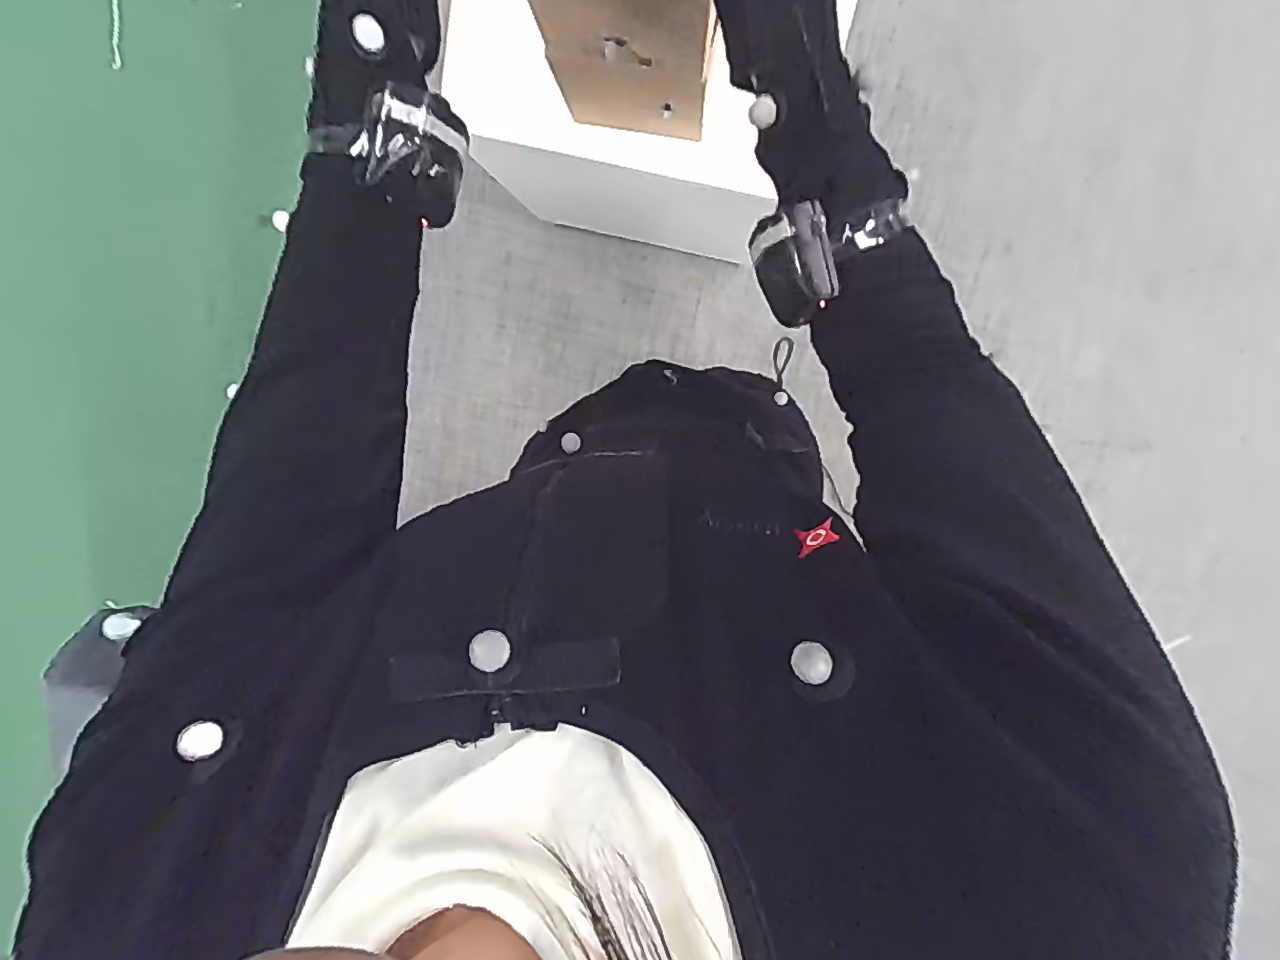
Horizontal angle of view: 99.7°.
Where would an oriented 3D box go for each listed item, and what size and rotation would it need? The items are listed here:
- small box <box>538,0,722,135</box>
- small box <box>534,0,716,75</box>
[{"bbox_3d":[-0.001,-0.520,0.615,0.179,0.176,0.168,10,103,4],"label":"small box"},{"bbox_3d":[-0.009,-0.490,0.454,0.168,0.176,0.179,8,101,3],"label":"small box"}]
